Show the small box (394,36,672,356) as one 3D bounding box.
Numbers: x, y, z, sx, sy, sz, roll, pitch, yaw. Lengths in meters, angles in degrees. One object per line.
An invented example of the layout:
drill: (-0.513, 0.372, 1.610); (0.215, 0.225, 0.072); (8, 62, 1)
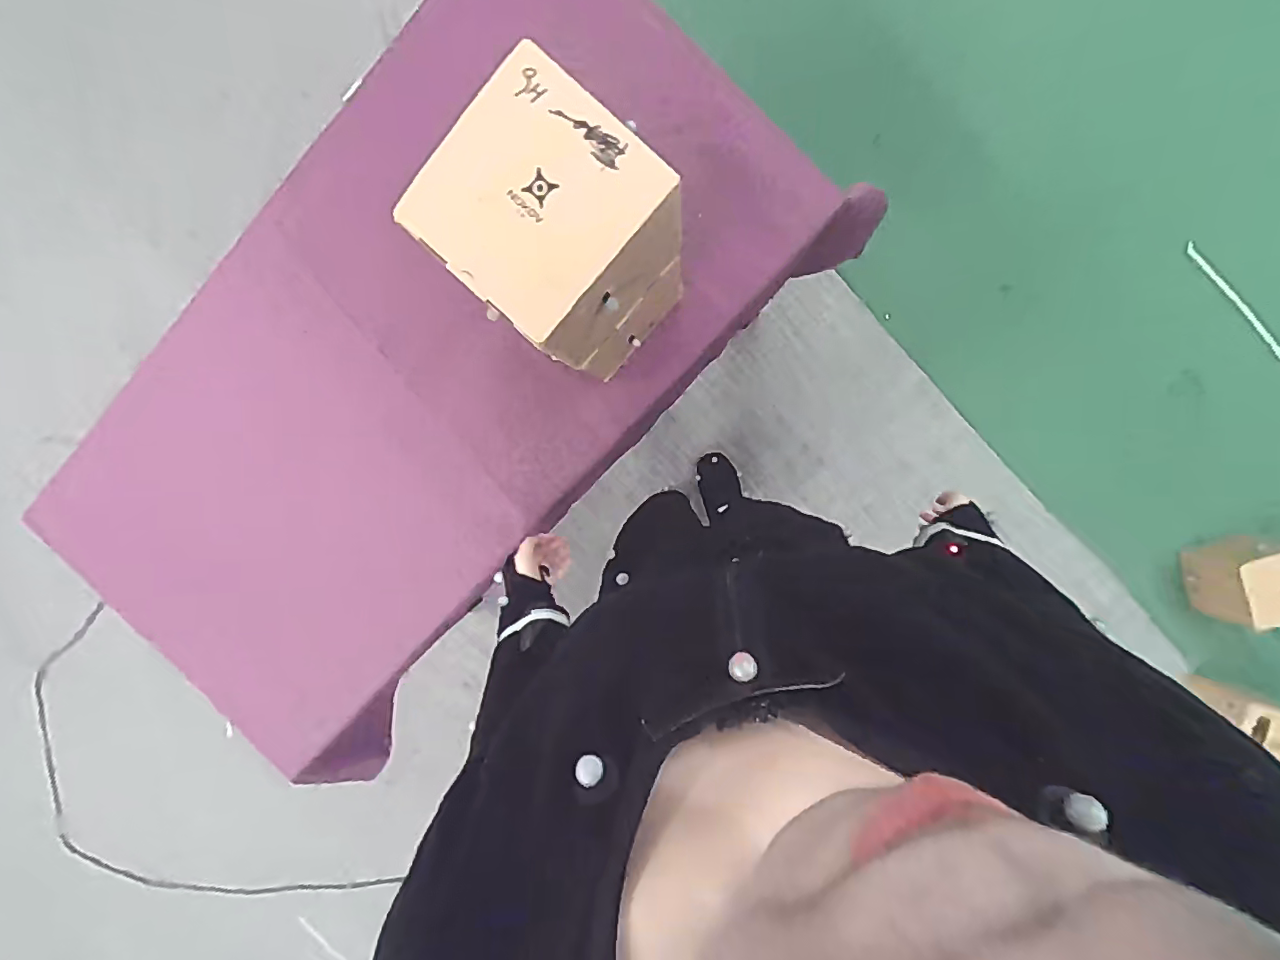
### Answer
small box: (-0.081, -0.239, 0.512); (0.168, 0.176, 0.179); (42, 98, 0)

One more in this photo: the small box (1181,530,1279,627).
small box: (1.494, 0.231, 1.313); (0.179, 0.176, 0.168); (-18, 93, 6)

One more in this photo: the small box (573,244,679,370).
small box: (-0.069, -0.255, 0.675); (0.179, 0.176, 0.168); (42, 97, 0)
